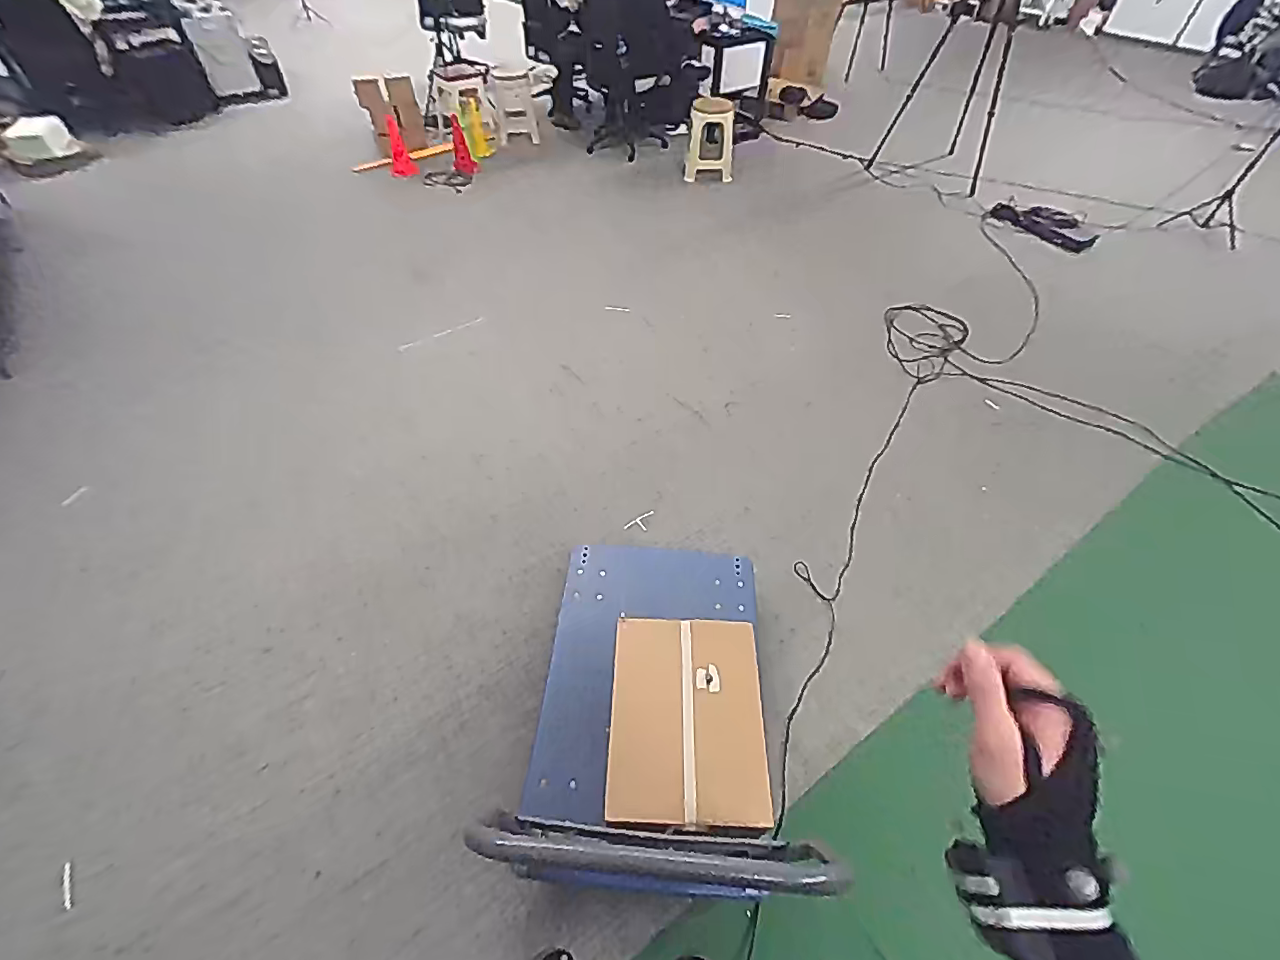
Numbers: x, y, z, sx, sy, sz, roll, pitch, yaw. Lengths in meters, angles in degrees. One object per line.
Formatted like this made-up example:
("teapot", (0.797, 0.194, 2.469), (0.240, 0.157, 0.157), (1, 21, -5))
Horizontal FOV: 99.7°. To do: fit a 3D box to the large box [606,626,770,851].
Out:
("large box", (0.093, 0.593, 1.243), (0.320, 0.320, 0.408), (3, 49, 0))
